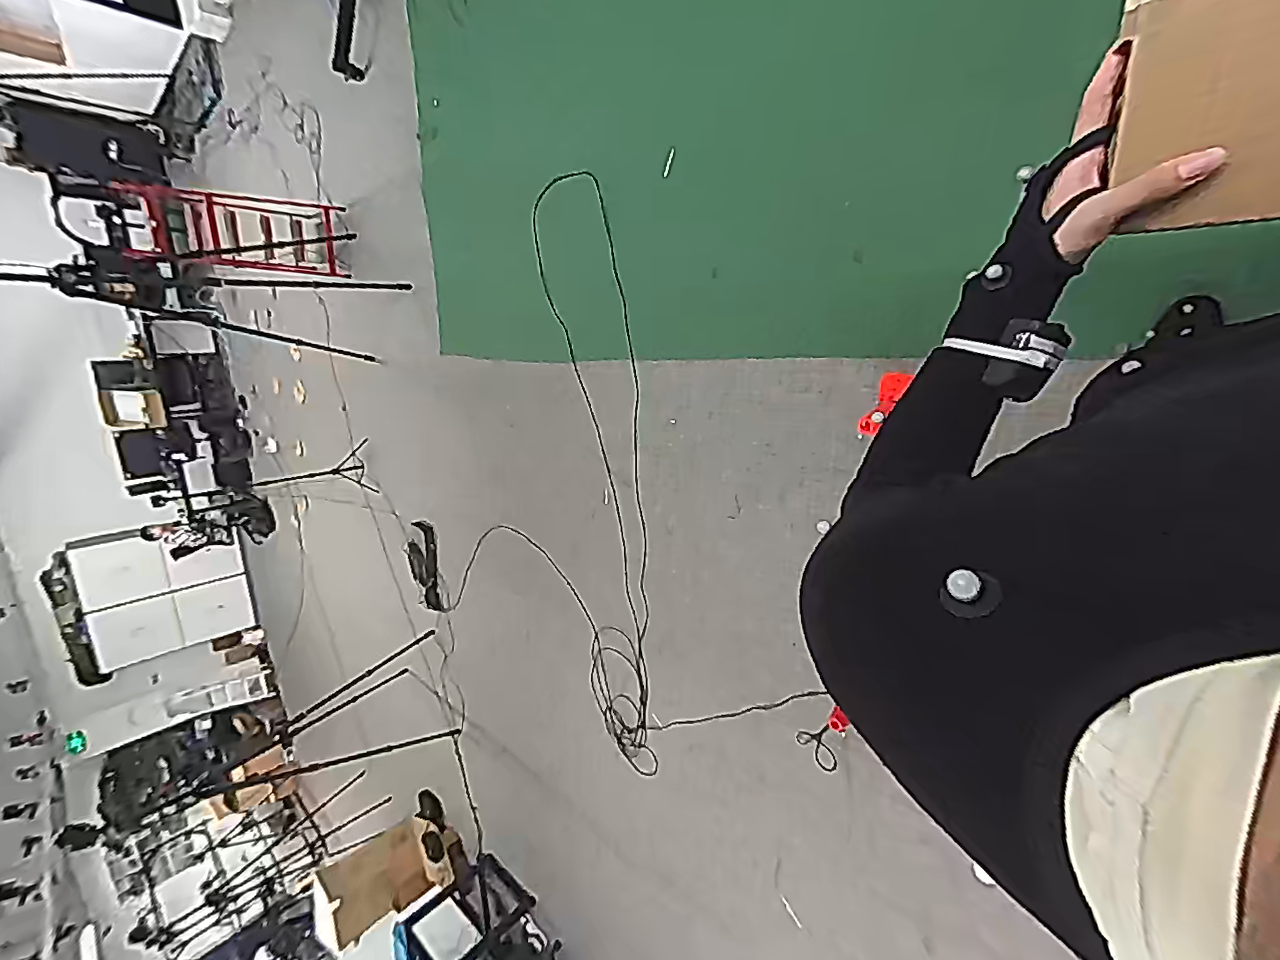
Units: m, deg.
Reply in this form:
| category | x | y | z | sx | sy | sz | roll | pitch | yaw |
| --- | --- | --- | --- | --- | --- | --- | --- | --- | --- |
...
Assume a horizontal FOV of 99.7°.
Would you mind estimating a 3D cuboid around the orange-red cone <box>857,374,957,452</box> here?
| category | x | y | z | sx | sy | sz | roll | pitch | yaw |
| --- | --- | --- | --- | --- | --- | --- | --- | --- | --- |
| orange-red cone | 0.653 | -0.163 | 1.410 | 0.199 | 0.360 | 0.198 | 21 | 114 | 40 |
